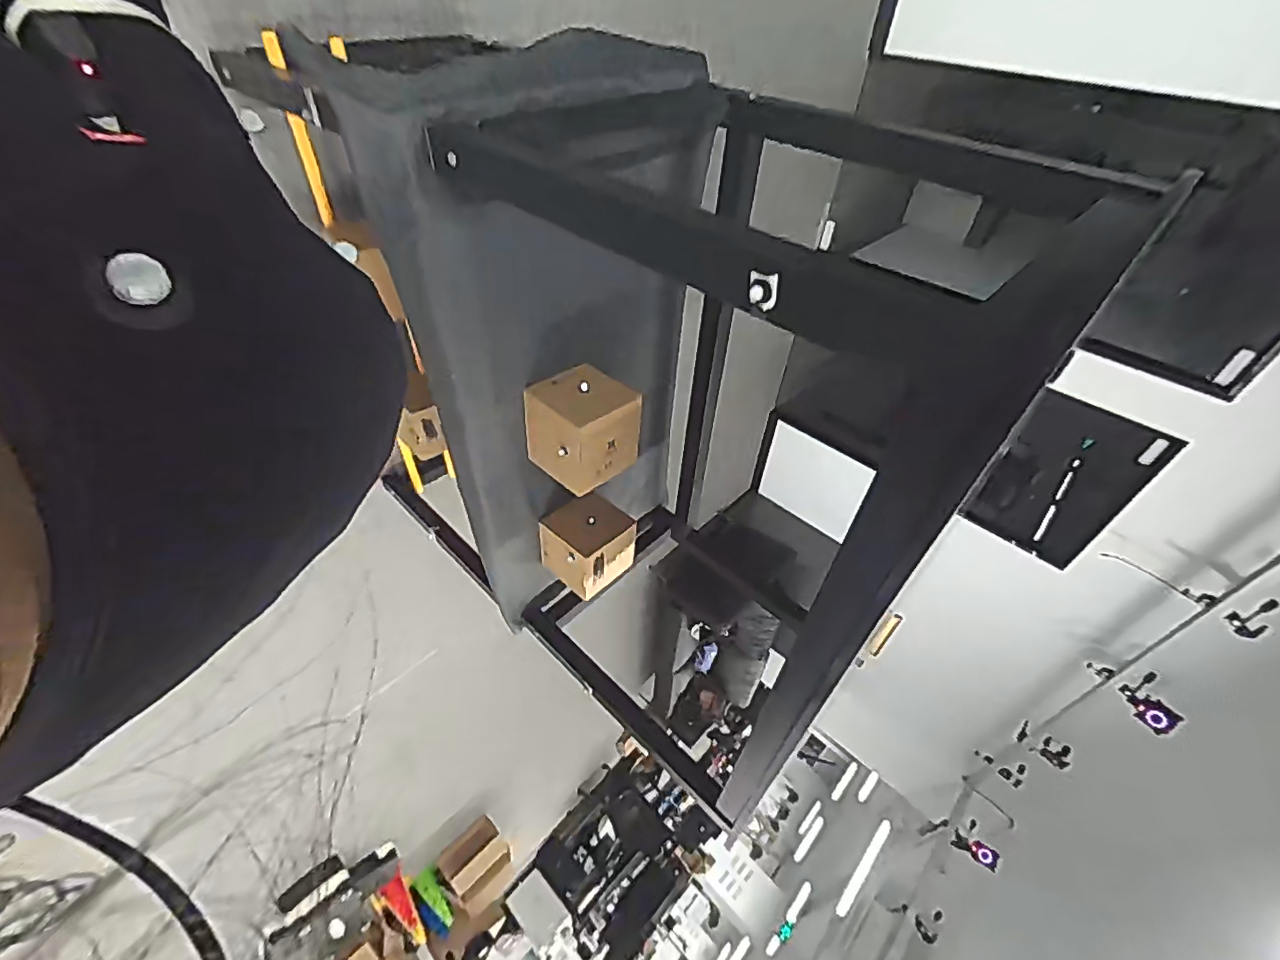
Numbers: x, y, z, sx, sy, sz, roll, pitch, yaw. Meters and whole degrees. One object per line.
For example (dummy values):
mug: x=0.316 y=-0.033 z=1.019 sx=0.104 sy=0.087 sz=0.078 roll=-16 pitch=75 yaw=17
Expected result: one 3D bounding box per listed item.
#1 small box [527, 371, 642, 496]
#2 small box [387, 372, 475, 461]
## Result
small box: x=-0.116 y=-0.106 z=1.106 sx=0.168 sy=0.176 sz=0.179 roll=-33 pitch=144 yaw=-35
small box: x=-0.612 y=-0.190 z=1.575 sx=0.179 sy=0.176 sz=0.168 roll=-32 pitch=145 yaw=-35
